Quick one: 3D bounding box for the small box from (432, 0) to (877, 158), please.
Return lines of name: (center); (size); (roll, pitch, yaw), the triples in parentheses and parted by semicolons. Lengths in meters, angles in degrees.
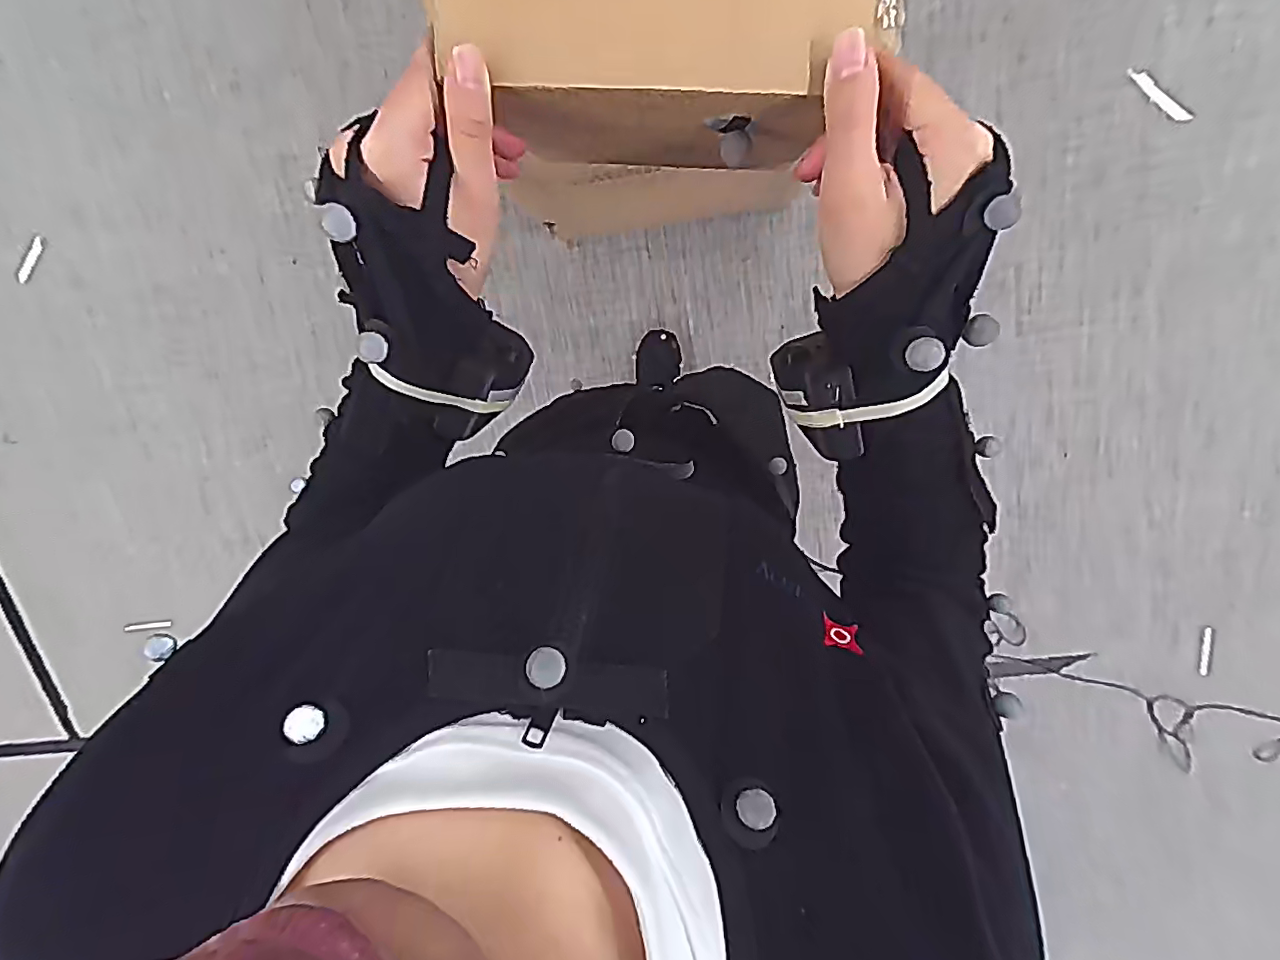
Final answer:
small box: (0.013, -0.268, 0.263); (0.179, 0.176, 0.168); (4, 111, 4)
